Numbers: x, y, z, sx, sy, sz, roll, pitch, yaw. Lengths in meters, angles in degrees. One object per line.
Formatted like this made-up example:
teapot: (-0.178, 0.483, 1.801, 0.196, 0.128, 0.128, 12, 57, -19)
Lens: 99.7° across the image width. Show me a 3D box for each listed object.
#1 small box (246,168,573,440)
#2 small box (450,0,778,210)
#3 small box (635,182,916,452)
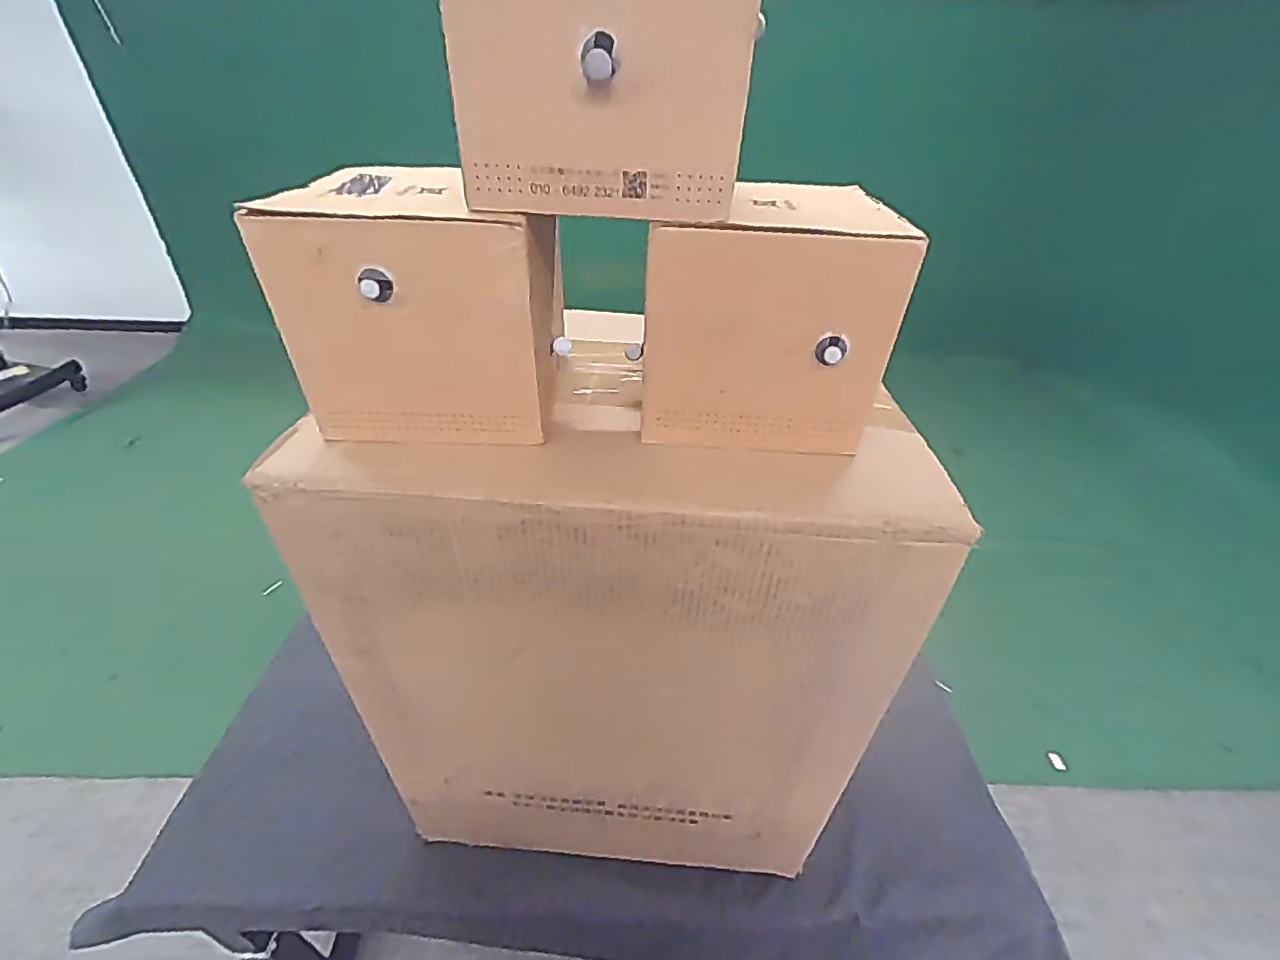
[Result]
small box: (-0.159, -0.147, 0.448, 0.179, 0.176, 0.168, 4, 40, 3)
small box: (-0.020, -0.291, 0.364, 0.179, 0.176, 0.168, -18, 42, -23)
small box: (0.092, -0.138, 0.453, 0.179, 0.176, 0.168, 4, 38, 2)
